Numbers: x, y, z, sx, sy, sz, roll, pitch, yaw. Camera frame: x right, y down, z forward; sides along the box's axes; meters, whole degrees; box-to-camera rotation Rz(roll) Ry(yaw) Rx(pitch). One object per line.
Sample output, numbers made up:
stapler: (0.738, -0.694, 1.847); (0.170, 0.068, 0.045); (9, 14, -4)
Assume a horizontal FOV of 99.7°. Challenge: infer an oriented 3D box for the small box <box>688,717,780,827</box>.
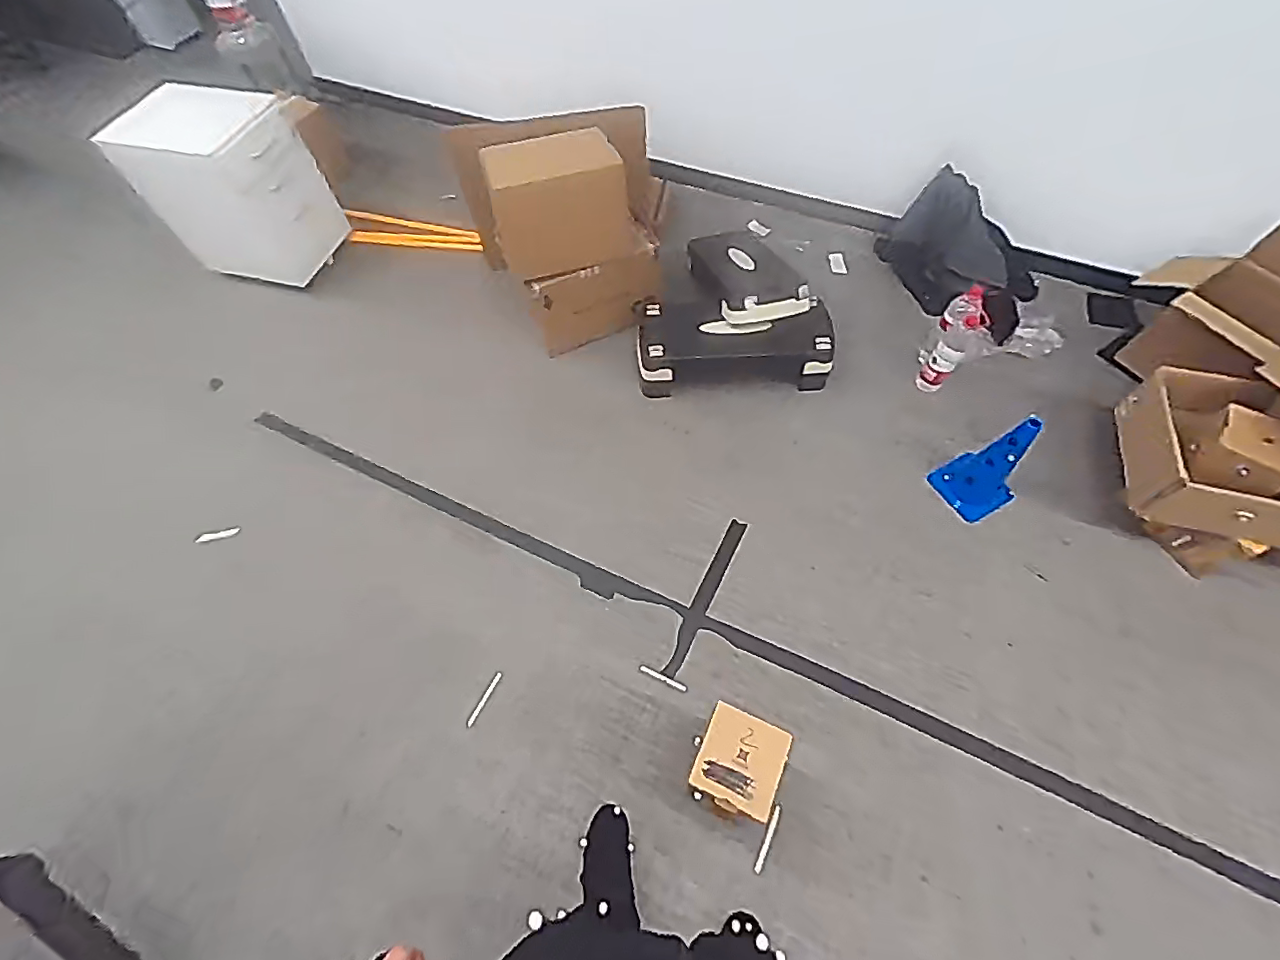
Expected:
small box: (0.219, 0.700, 1.304); (0.168, 0.176, 0.179); (20, 64, 14)
